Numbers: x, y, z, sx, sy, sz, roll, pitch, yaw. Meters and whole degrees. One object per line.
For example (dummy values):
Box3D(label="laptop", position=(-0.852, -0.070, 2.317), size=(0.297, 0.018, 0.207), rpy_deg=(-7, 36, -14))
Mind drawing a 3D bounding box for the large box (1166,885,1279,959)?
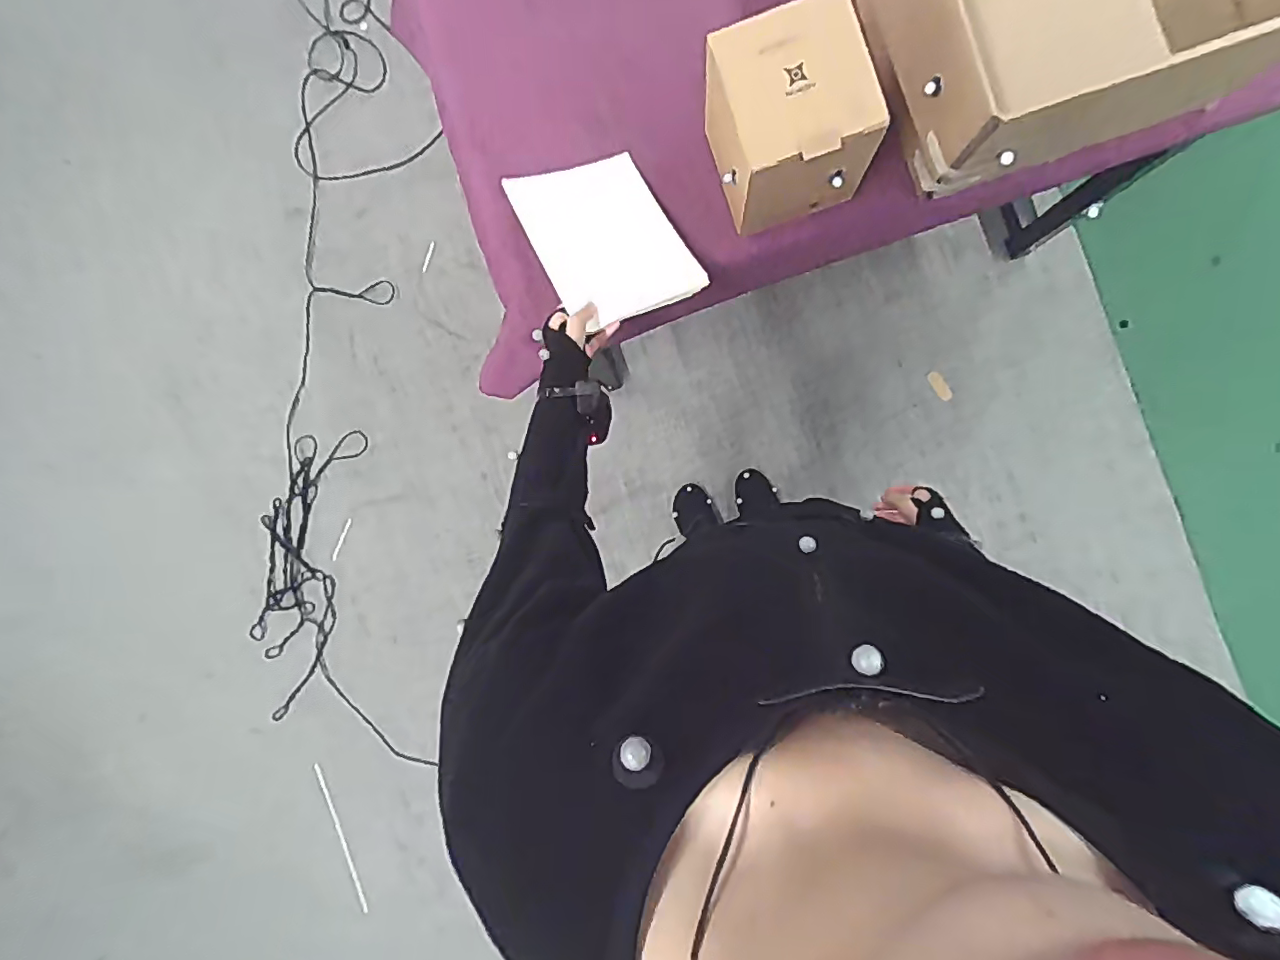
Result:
Box3D(label="large box", position=(1.569, 1.212, 1.212), size=(0.408, 0.320, 0.320), rpy_deg=(-33, 88, 4))

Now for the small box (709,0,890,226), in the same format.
Box3D(label="small box", position=(0.191, -0.456, 0.696), size=(0.168, 0.176, 0.179), rpy_deg=(-17, 87, 6))
